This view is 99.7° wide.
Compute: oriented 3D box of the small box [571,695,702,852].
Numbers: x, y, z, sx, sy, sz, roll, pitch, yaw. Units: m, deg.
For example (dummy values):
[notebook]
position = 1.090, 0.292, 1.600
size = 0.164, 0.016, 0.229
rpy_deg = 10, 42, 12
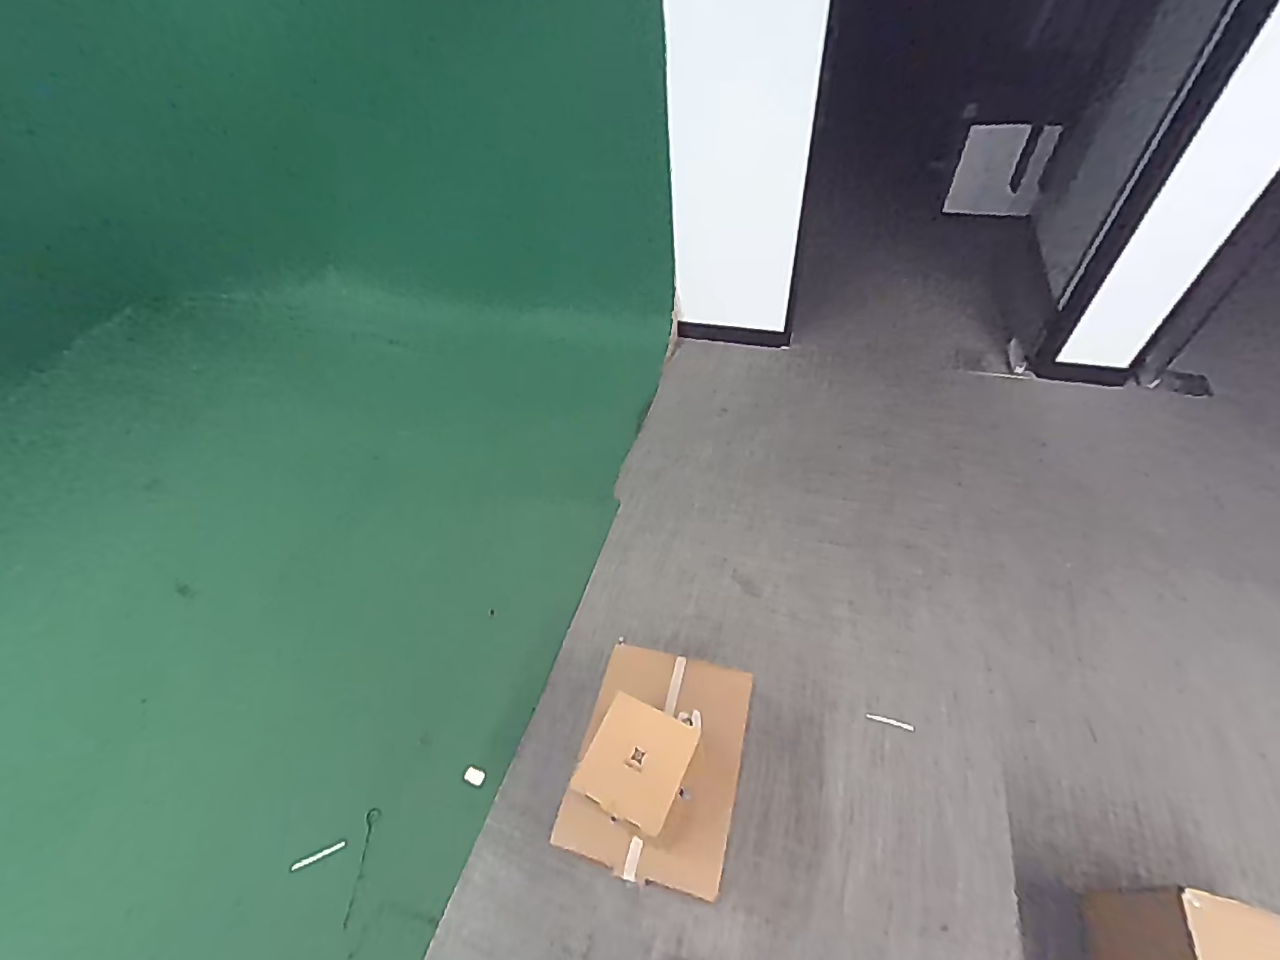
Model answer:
[small box]
position = 0.002, 0.523, 0.962
size = 0.168, 0.176, 0.179
rpy_deg = 18, 55, 22

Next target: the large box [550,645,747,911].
[large box]
position = 0.045, 0.641, 1.177
size = 0.320, 0.320, 0.408
rpy_deg = 10, 51, 14
